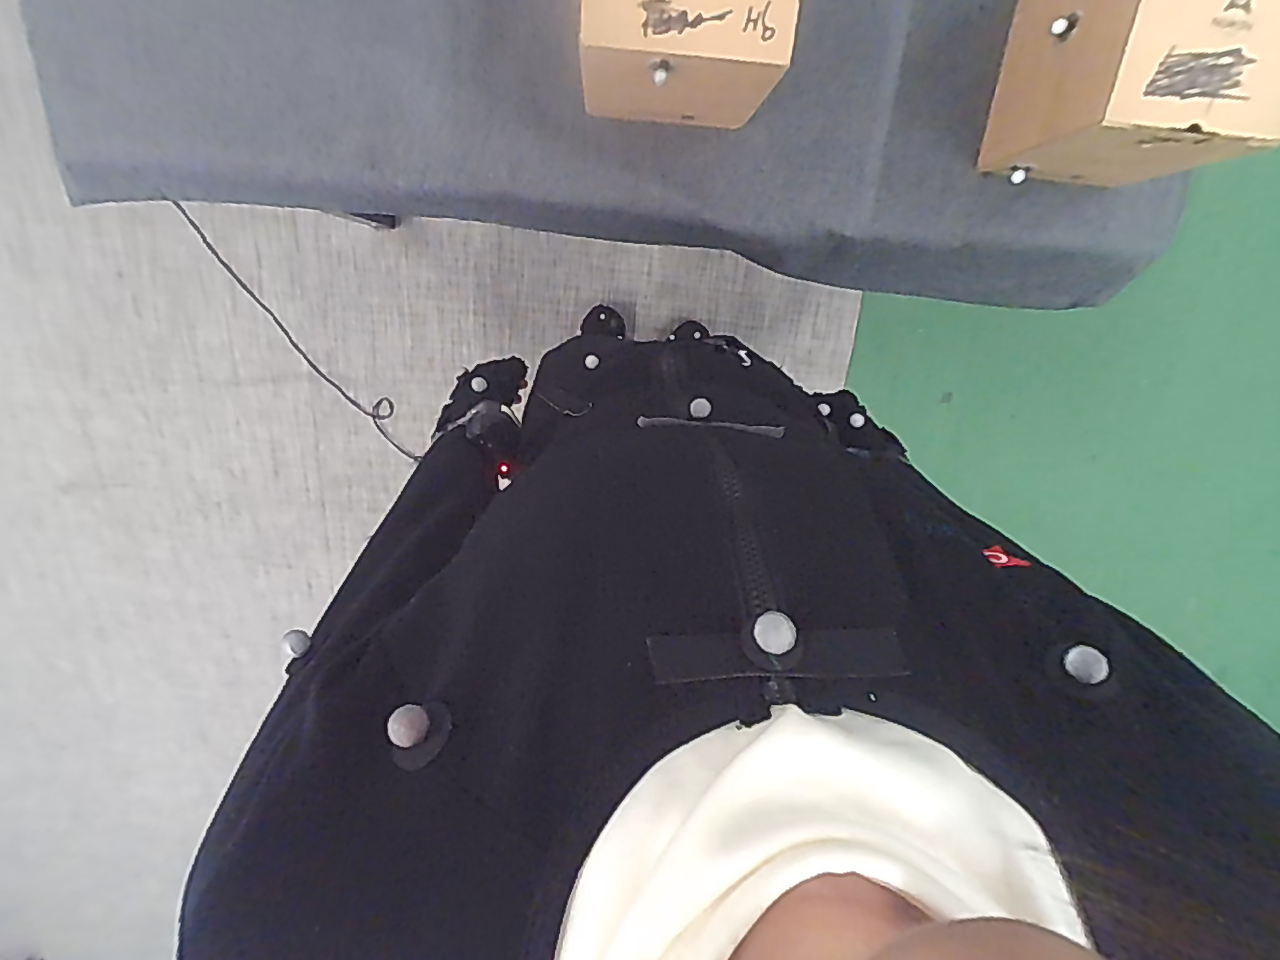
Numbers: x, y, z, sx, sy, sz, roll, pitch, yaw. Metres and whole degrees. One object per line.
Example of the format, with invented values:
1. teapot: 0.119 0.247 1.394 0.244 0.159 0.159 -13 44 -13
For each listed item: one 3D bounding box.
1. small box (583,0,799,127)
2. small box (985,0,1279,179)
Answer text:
1. small box: 0.039 -0.437 0.465 0.168 0.176 0.179 3 108 -4
2. small box: 0.463 -0.397 0.501 0.168 0.176 0.179 4 107 -4
